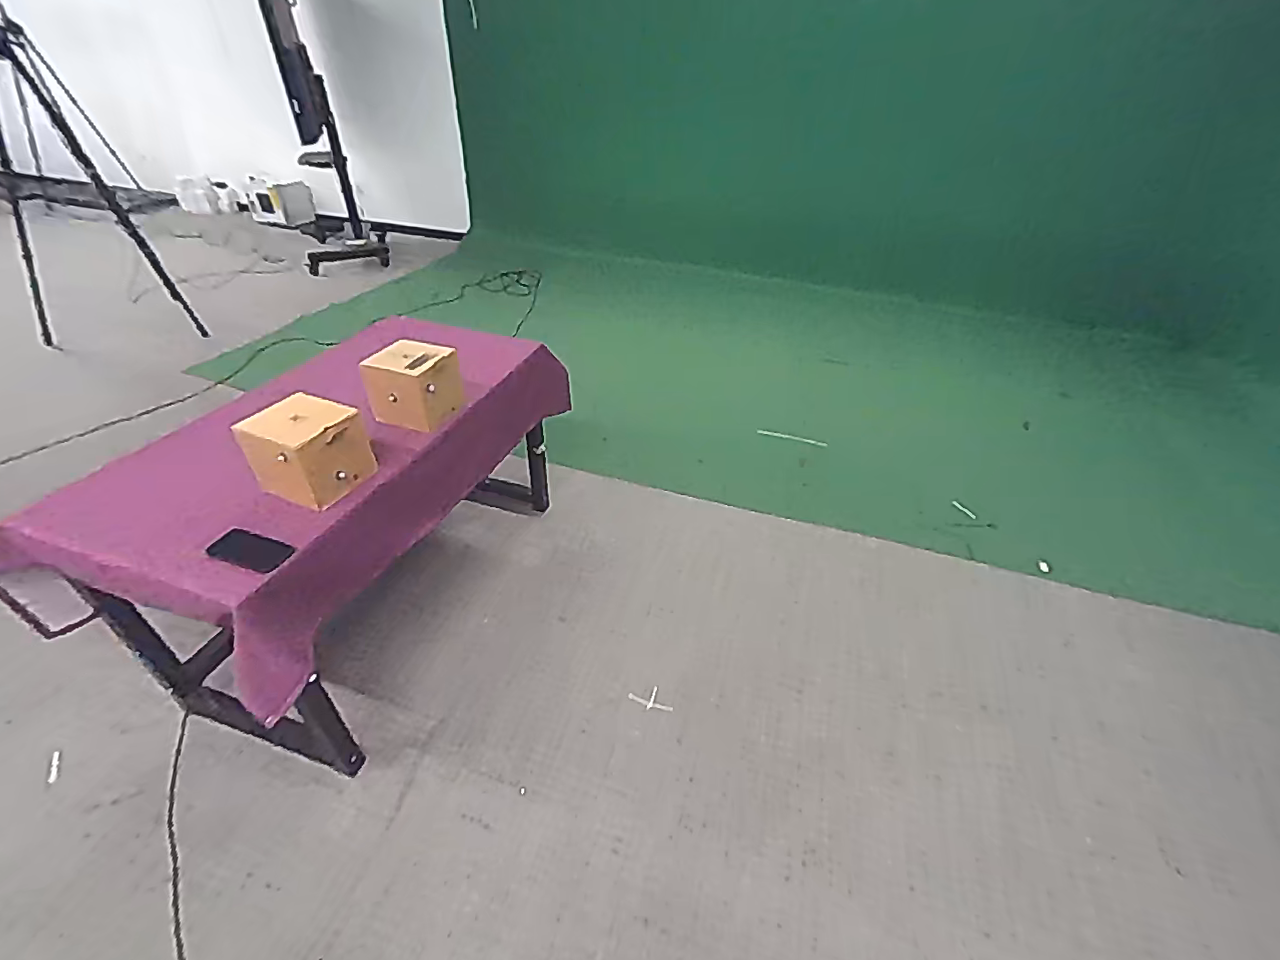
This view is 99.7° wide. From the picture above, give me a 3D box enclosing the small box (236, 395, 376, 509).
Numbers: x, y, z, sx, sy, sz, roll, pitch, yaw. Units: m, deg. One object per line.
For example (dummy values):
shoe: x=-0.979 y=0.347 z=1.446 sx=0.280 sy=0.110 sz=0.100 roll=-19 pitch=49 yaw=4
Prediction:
small box: x=-0.714 y=-0.061 z=1.174 sx=0.179 sy=0.176 sz=0.168 roll=17 pitch=39 yaw=15
